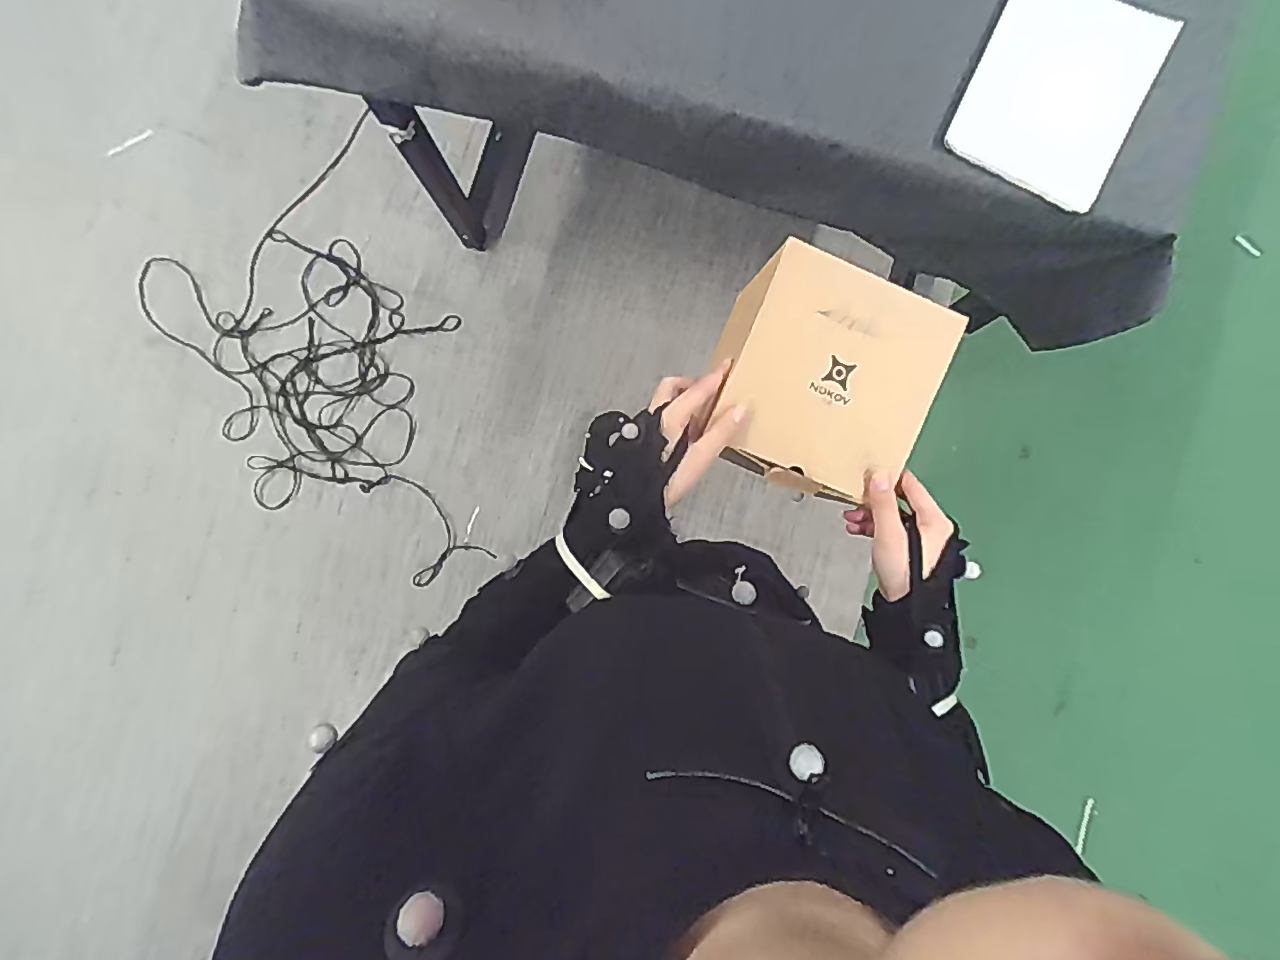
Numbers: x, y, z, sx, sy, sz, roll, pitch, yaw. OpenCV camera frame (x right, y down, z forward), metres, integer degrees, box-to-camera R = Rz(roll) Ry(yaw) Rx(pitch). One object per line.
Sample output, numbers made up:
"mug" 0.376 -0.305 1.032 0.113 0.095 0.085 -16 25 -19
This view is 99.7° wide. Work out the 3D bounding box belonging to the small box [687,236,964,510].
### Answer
"small box" 0.153 -0.088 0.515 0.168 0.176 0.179 22 91 -5
